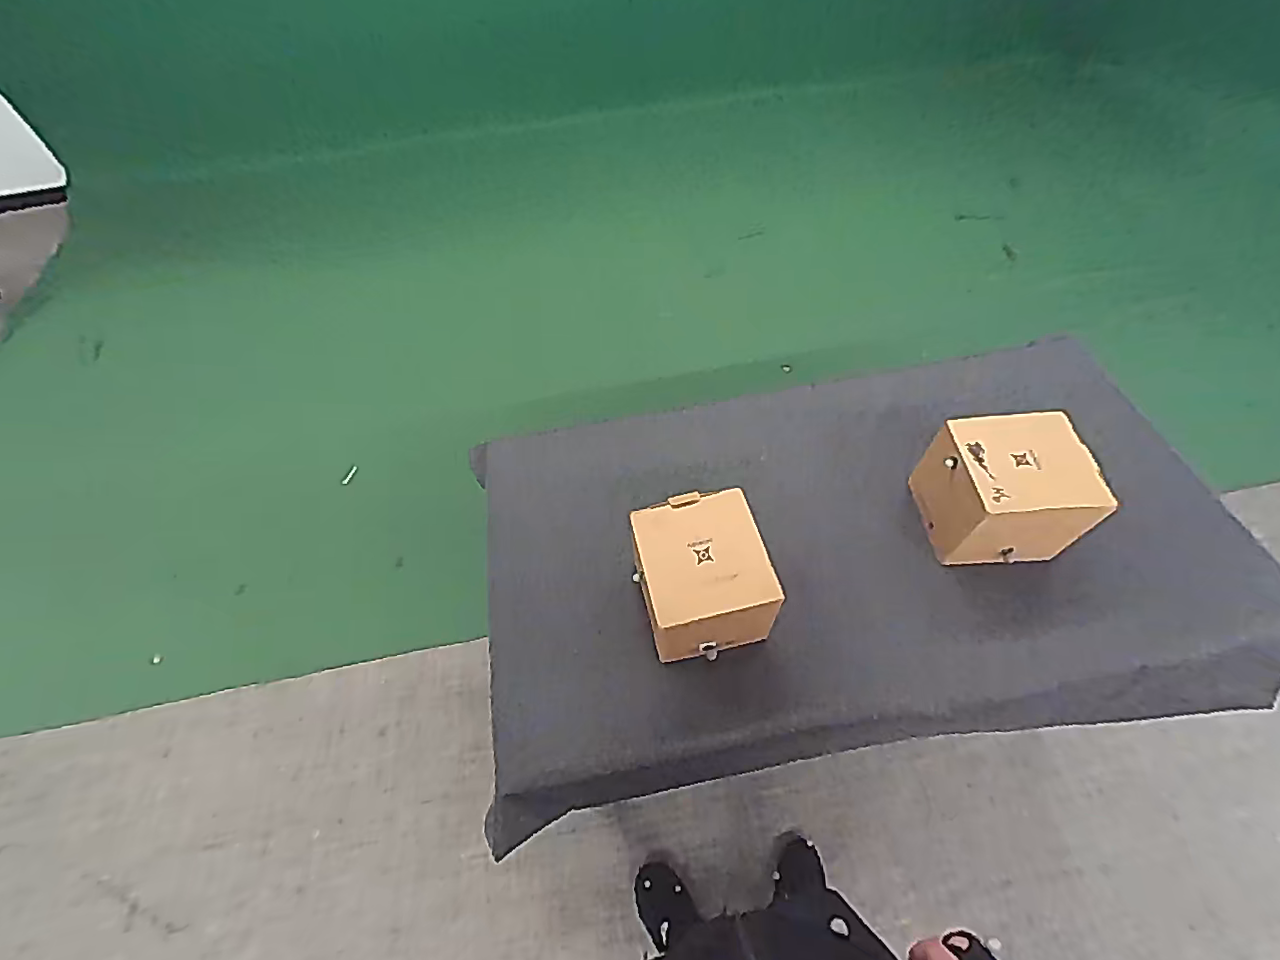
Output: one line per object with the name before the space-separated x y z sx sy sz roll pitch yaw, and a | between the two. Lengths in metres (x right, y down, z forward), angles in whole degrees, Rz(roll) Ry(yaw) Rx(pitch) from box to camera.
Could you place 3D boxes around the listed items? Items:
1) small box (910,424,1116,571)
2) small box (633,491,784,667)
small box | 0.554 0.032 0.833 0.179 0.176 0.168 -3 56 1
small box | 0.088 0.144 0.770 0.168 0.176 0.179 -12 56 -2
